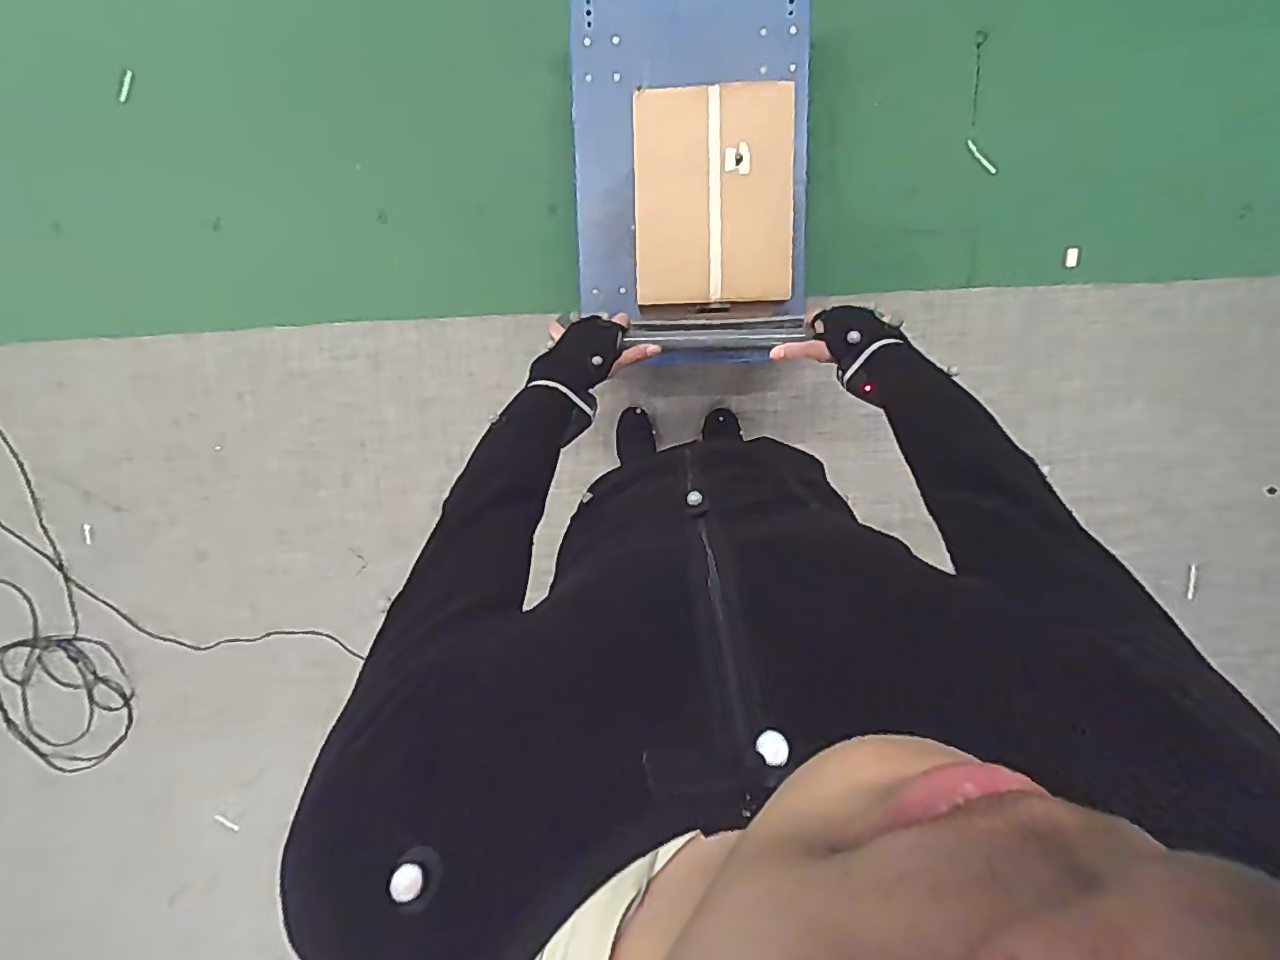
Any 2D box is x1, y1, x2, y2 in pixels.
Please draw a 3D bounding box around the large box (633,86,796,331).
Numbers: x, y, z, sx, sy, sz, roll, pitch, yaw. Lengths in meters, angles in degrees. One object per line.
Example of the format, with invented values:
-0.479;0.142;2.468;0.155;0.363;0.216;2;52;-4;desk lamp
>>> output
0.155;-0.564;1.203;0.320;0.320;0.408;-1;97;2;large box
